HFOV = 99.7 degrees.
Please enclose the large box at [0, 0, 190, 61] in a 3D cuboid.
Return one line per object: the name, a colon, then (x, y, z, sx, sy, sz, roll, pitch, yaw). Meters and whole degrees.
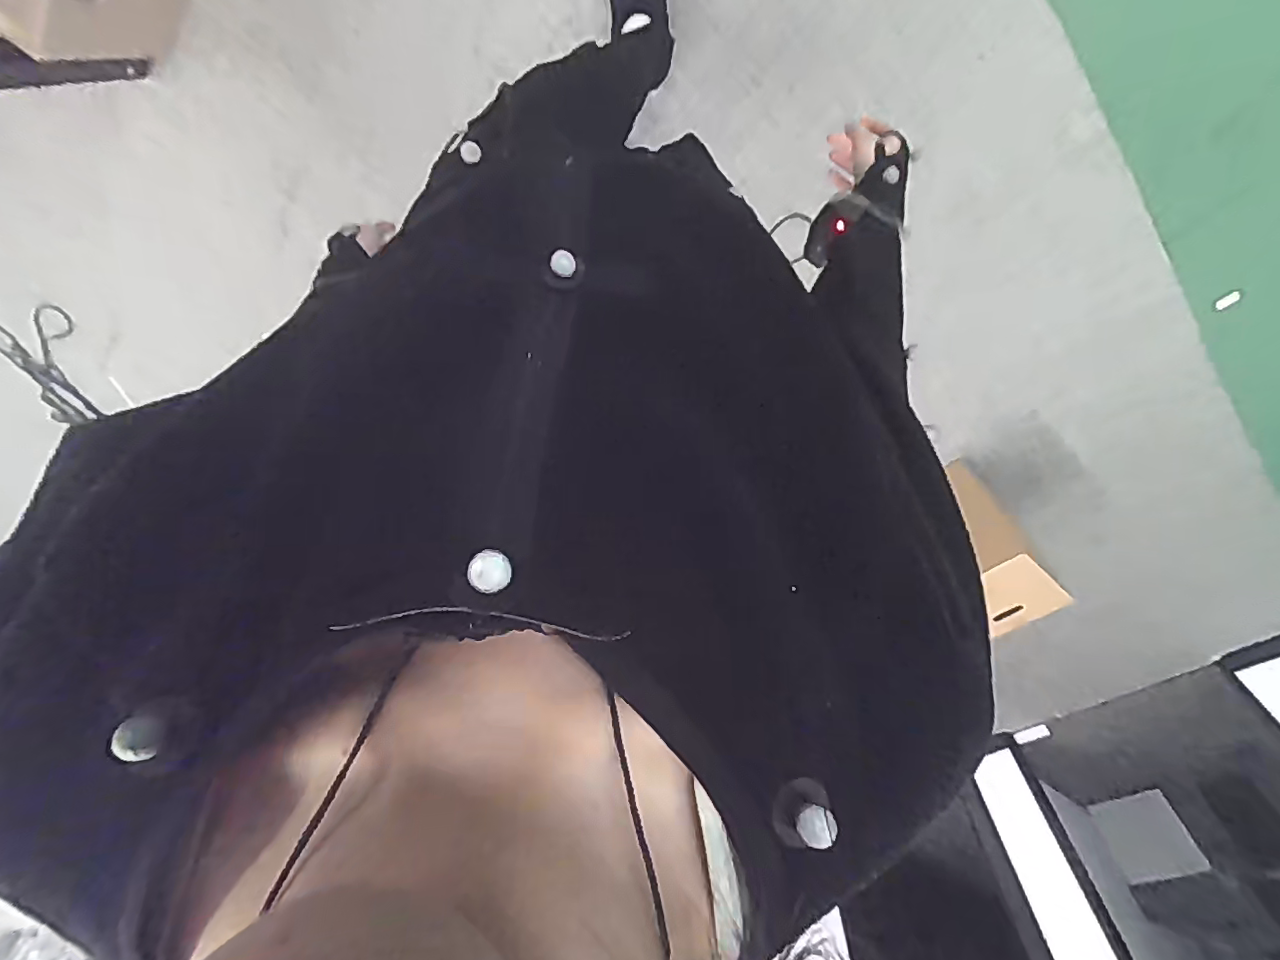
large box: (-0.995, -0.951, 0.829, 0.408, 0.320, 0.320, 35, 121, -26)
